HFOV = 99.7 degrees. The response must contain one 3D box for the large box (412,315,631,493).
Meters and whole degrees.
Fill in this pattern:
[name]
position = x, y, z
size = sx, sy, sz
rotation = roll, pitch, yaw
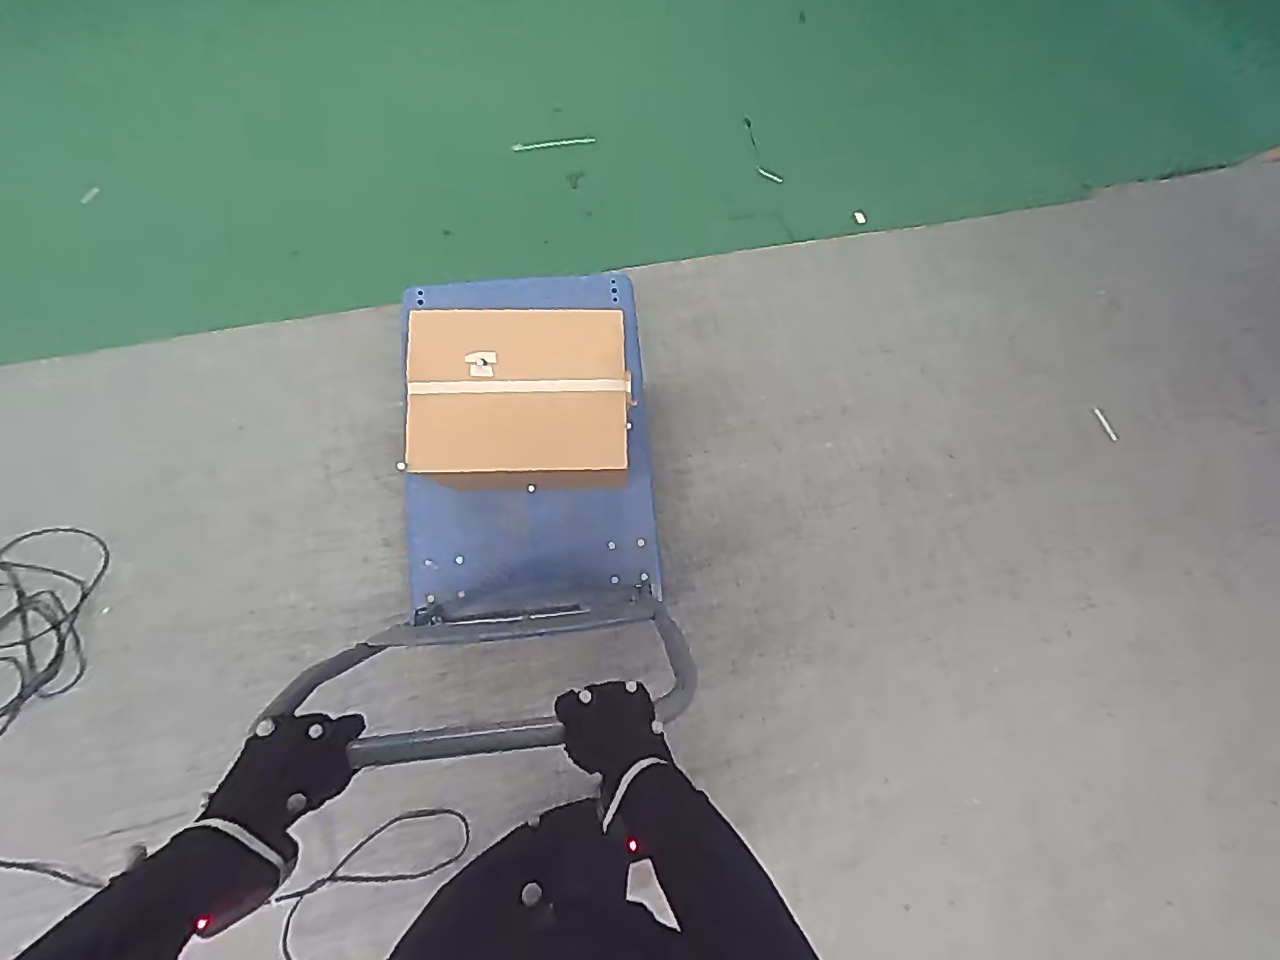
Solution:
[large box]
position = -0.227, -0.142, 1.158
size = 0.408, 0.320, 0.320
rotation = -1, 82, -2
